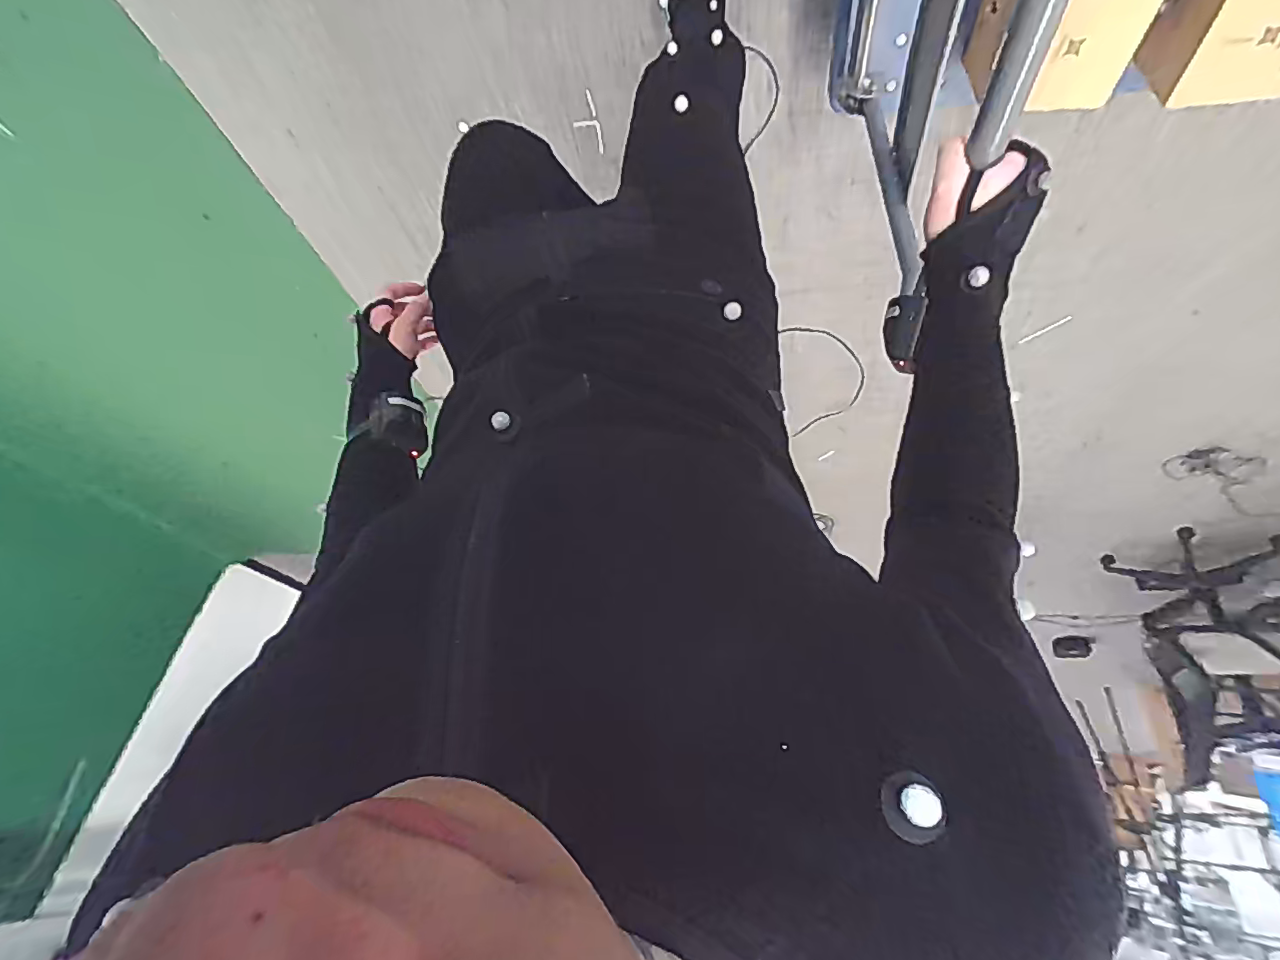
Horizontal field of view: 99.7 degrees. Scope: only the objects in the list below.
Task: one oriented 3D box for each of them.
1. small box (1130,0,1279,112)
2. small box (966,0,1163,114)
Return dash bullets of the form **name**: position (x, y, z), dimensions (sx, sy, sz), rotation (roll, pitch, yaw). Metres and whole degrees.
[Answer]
- **small box**: position (0.864, -0.661, 0.769), dimensions (0.179, 0.176, 0.168), rotation (3, 149, 12)
- **small box**: position (0.620, -0.680, 0.808), dimensions (0.179, 0.176, 0.168), rotation (6, 150, 10)
